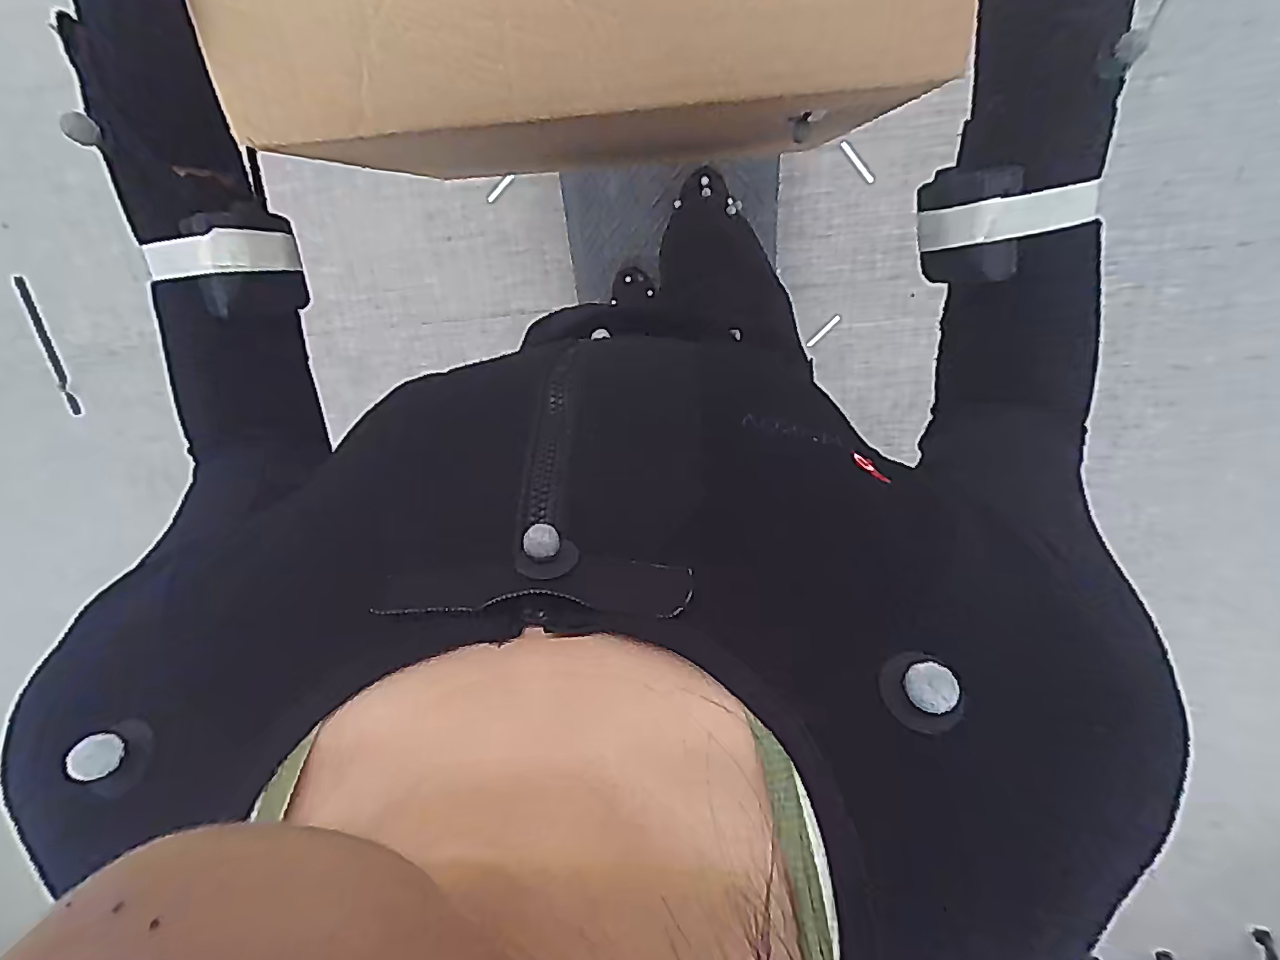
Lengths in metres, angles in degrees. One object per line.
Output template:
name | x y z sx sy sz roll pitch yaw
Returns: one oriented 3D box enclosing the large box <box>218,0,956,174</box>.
large box | -0.033 -0.414 0.378 0.408 0.320 0.320 -3 115 4
